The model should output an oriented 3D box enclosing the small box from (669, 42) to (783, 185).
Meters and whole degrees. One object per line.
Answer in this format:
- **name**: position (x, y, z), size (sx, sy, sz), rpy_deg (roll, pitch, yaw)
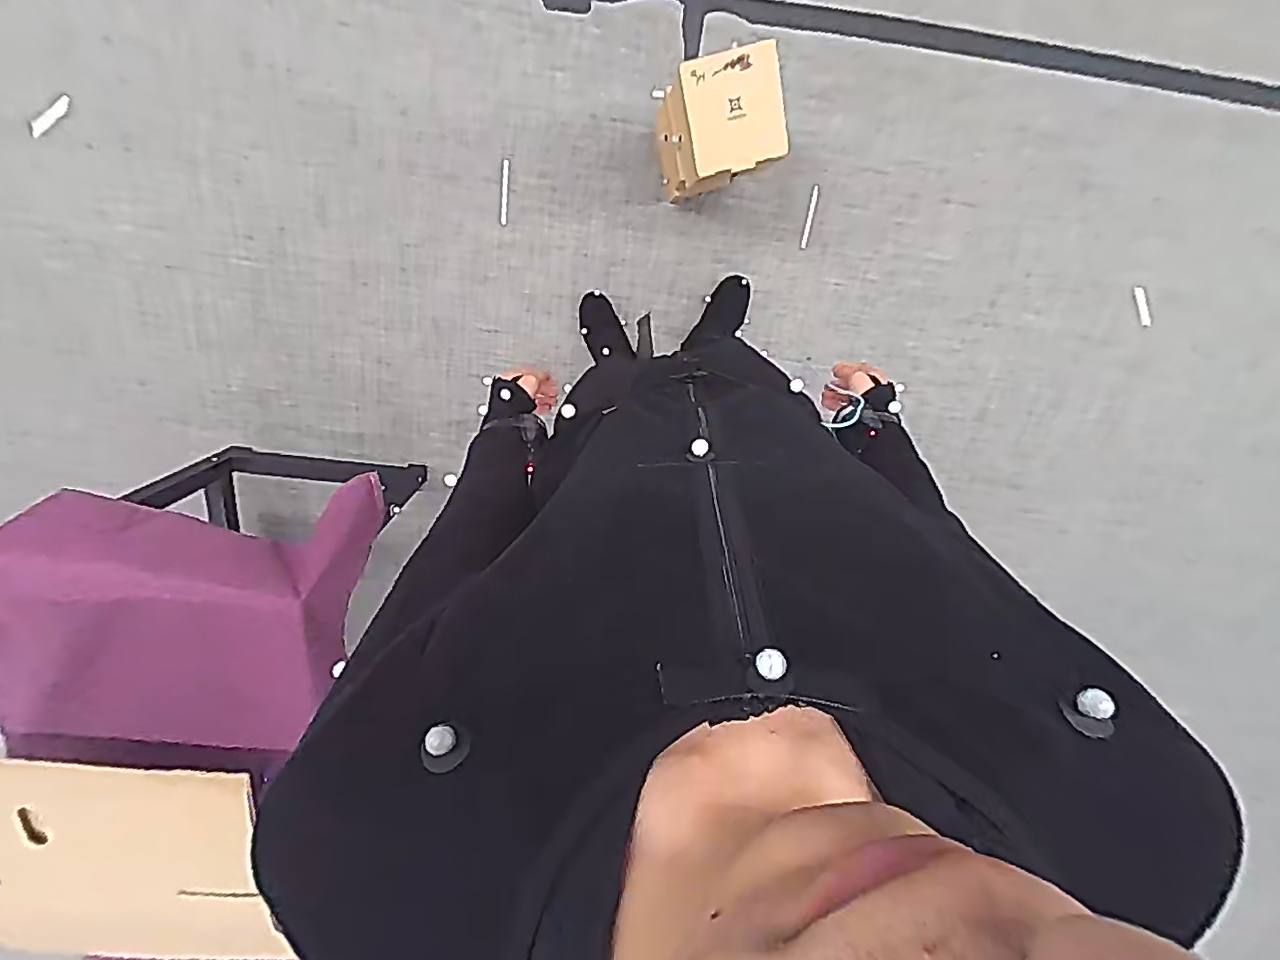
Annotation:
- **small box**: position (0.155, -0.662, 1.003), size (0.168, 0.176, 0.179), rpy_deg (-13, 112, 2)
